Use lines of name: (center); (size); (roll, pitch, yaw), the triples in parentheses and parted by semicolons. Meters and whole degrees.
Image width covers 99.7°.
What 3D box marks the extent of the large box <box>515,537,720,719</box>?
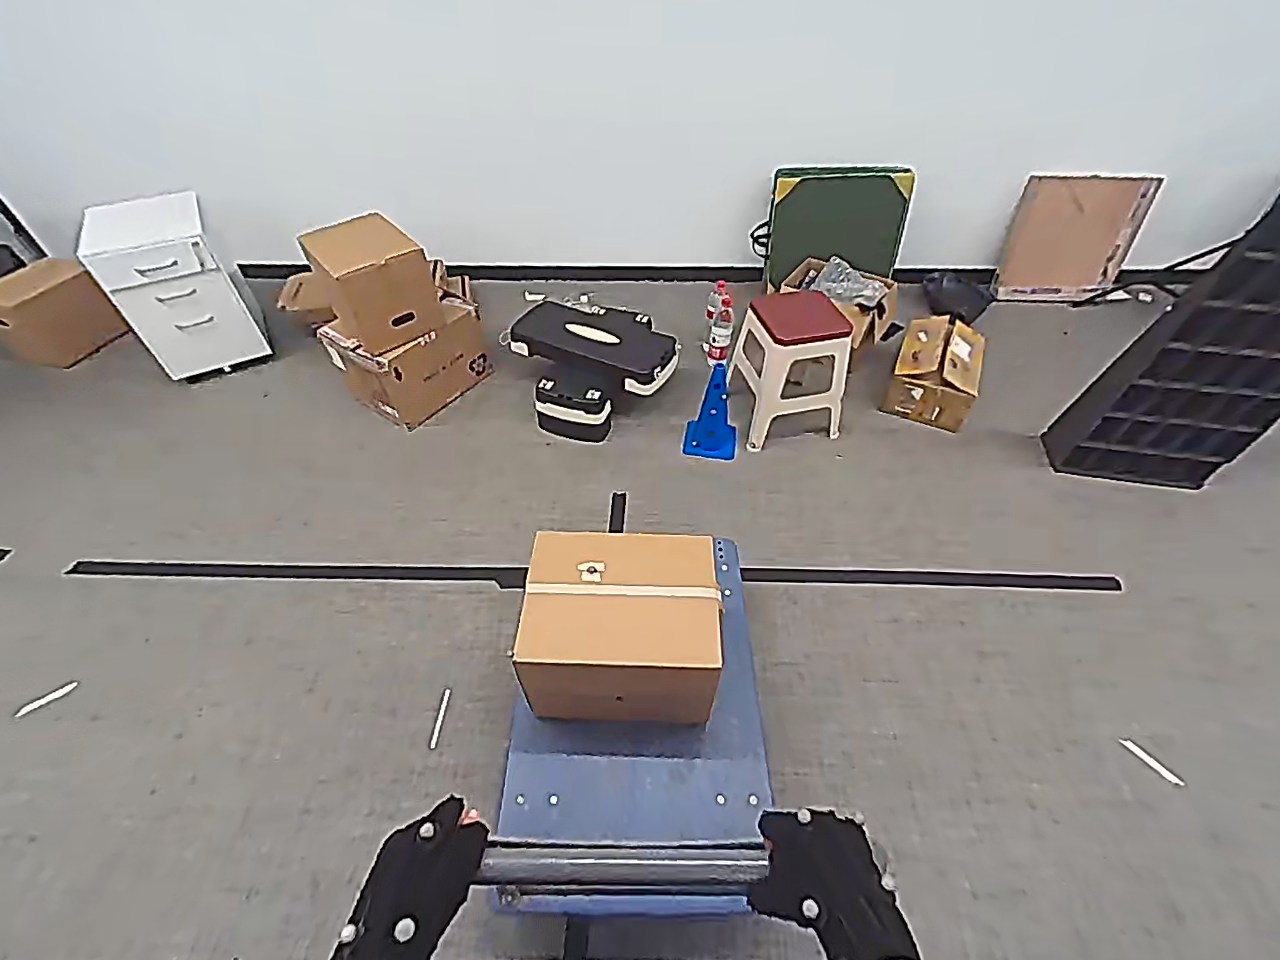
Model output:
large box: (-0.038, 0.345, 1.247); (0.408, 0.320, 0.320); (1, 47, 2)
